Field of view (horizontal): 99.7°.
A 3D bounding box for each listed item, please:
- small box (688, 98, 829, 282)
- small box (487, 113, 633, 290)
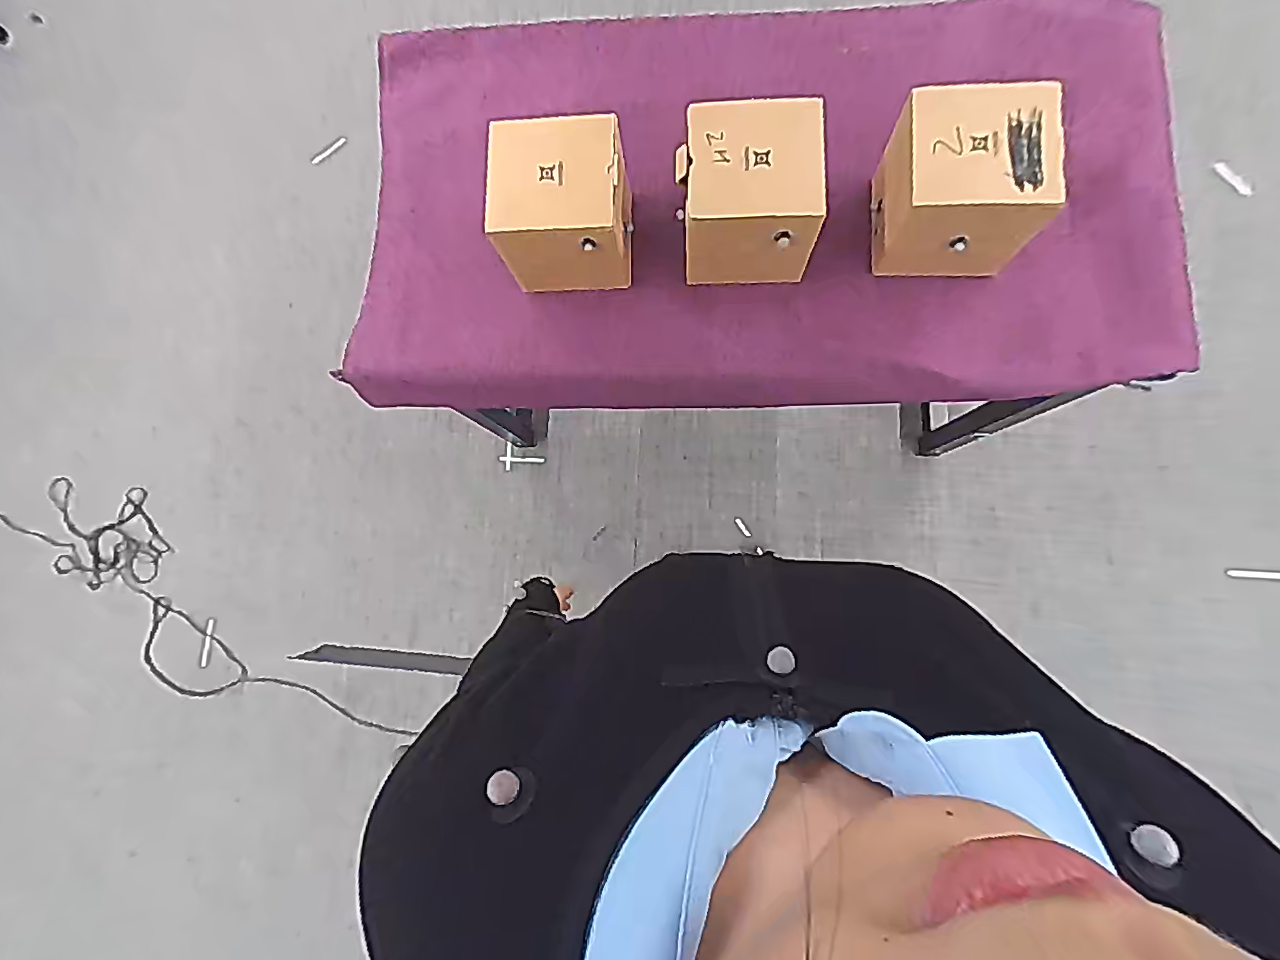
[{"bbox_3d":[0.158,-0.397,0.766,0.179,0.176,0.168,0,82,6],"label":"small box"},{"bbox_3d":[-0.108,-0.395,0.793,0.179,0.176,0.168,-1,82,5],"label":"small box"}]
